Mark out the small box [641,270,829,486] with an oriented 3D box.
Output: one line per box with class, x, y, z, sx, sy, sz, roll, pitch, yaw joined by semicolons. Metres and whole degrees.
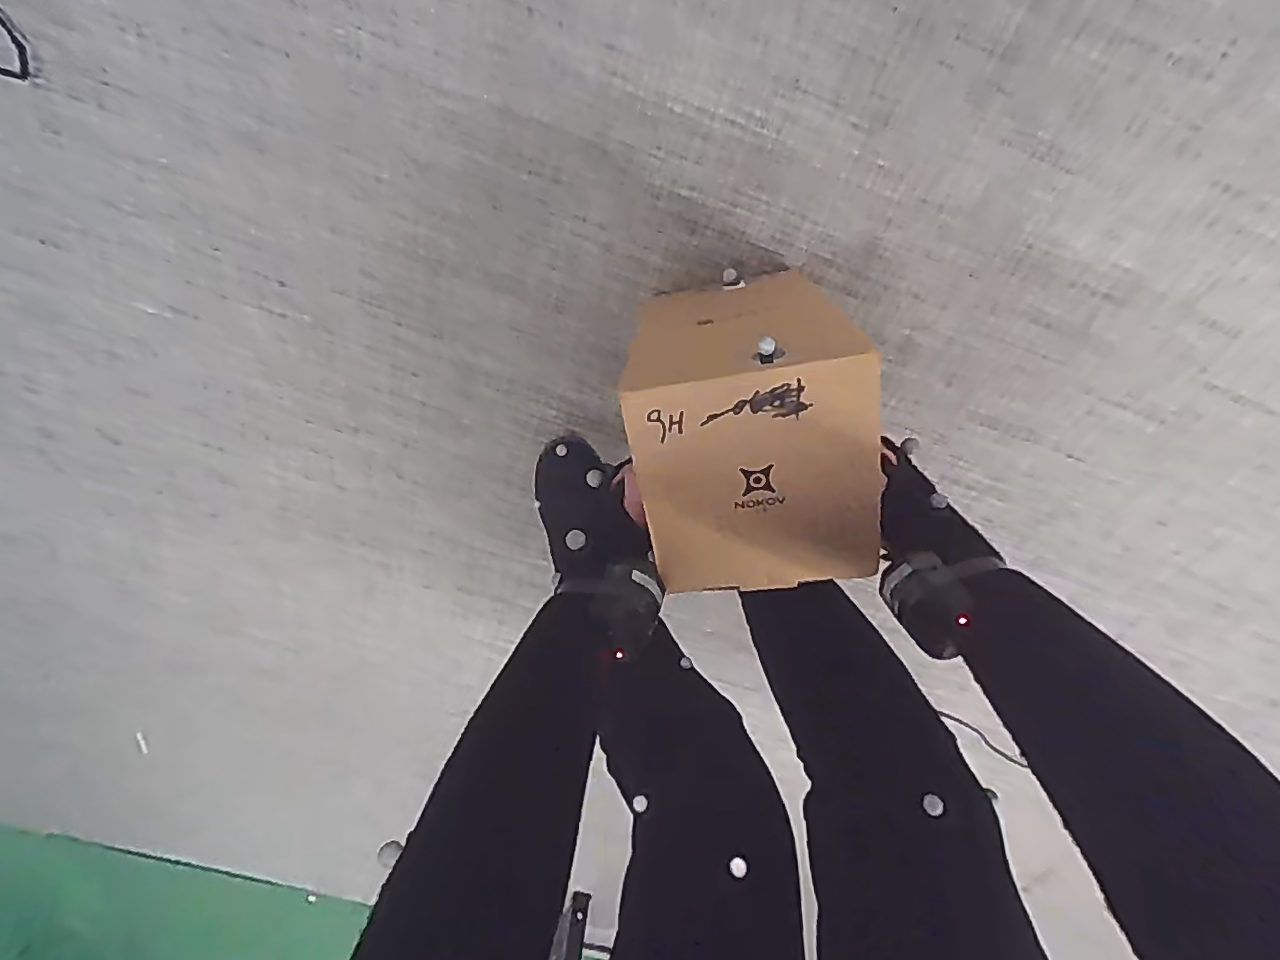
small box;0.105;-0.116;0.597;0.168;0.176;0.179;-9;116;11
